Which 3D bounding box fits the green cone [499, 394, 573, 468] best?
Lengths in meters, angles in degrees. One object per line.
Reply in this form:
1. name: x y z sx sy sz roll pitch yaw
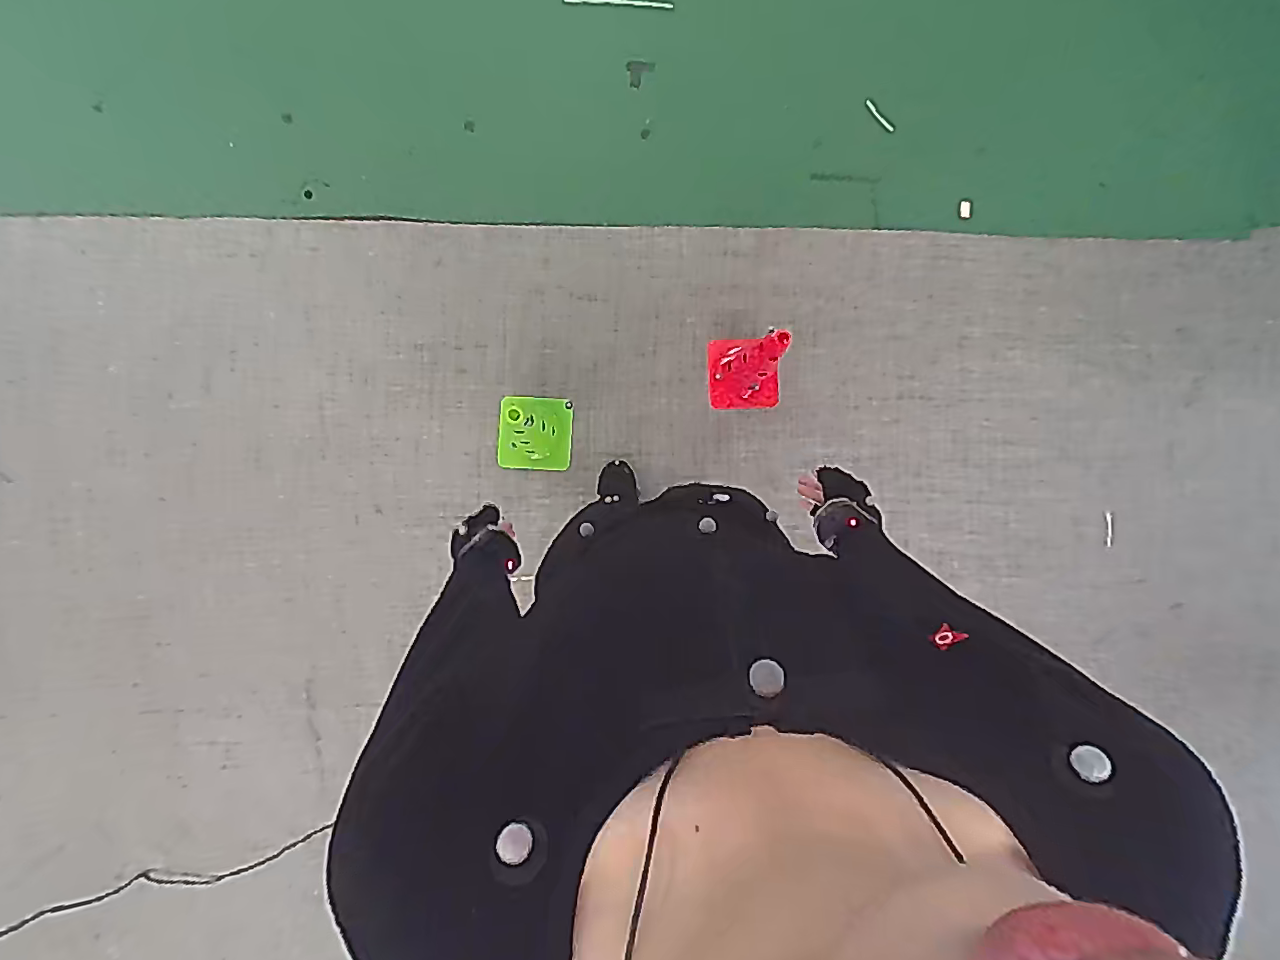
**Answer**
1. green cone: -0.278 -0.136 1.318 0.200 0.368 0.202 2 89 -3
